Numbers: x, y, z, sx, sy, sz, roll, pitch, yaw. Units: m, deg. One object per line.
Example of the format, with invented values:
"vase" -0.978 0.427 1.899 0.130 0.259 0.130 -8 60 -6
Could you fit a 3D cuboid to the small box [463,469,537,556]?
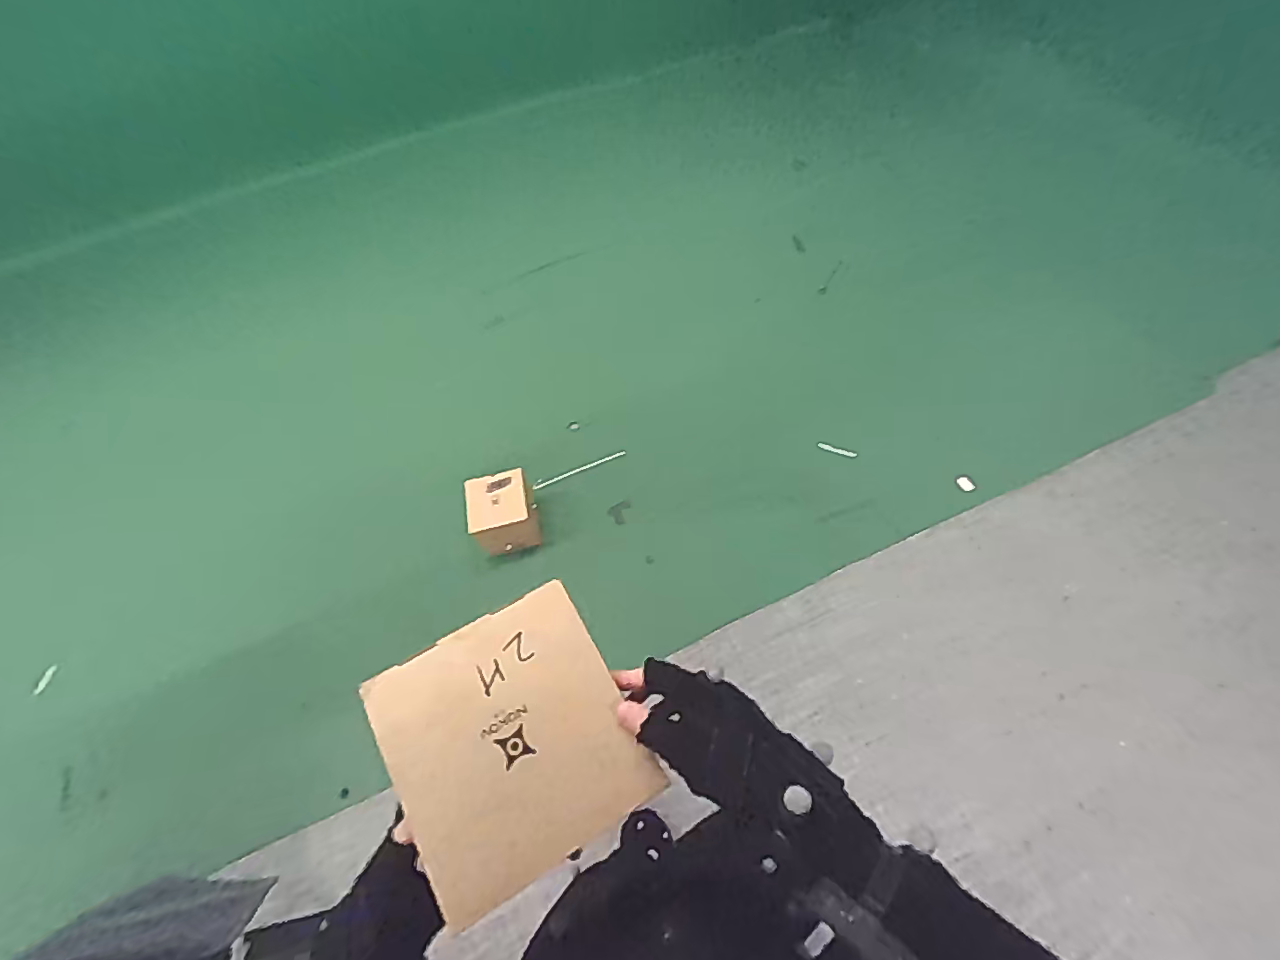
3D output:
"small box" -0.407 0.098 1.579 0.168 0.176 0.179 -13 59 -3
